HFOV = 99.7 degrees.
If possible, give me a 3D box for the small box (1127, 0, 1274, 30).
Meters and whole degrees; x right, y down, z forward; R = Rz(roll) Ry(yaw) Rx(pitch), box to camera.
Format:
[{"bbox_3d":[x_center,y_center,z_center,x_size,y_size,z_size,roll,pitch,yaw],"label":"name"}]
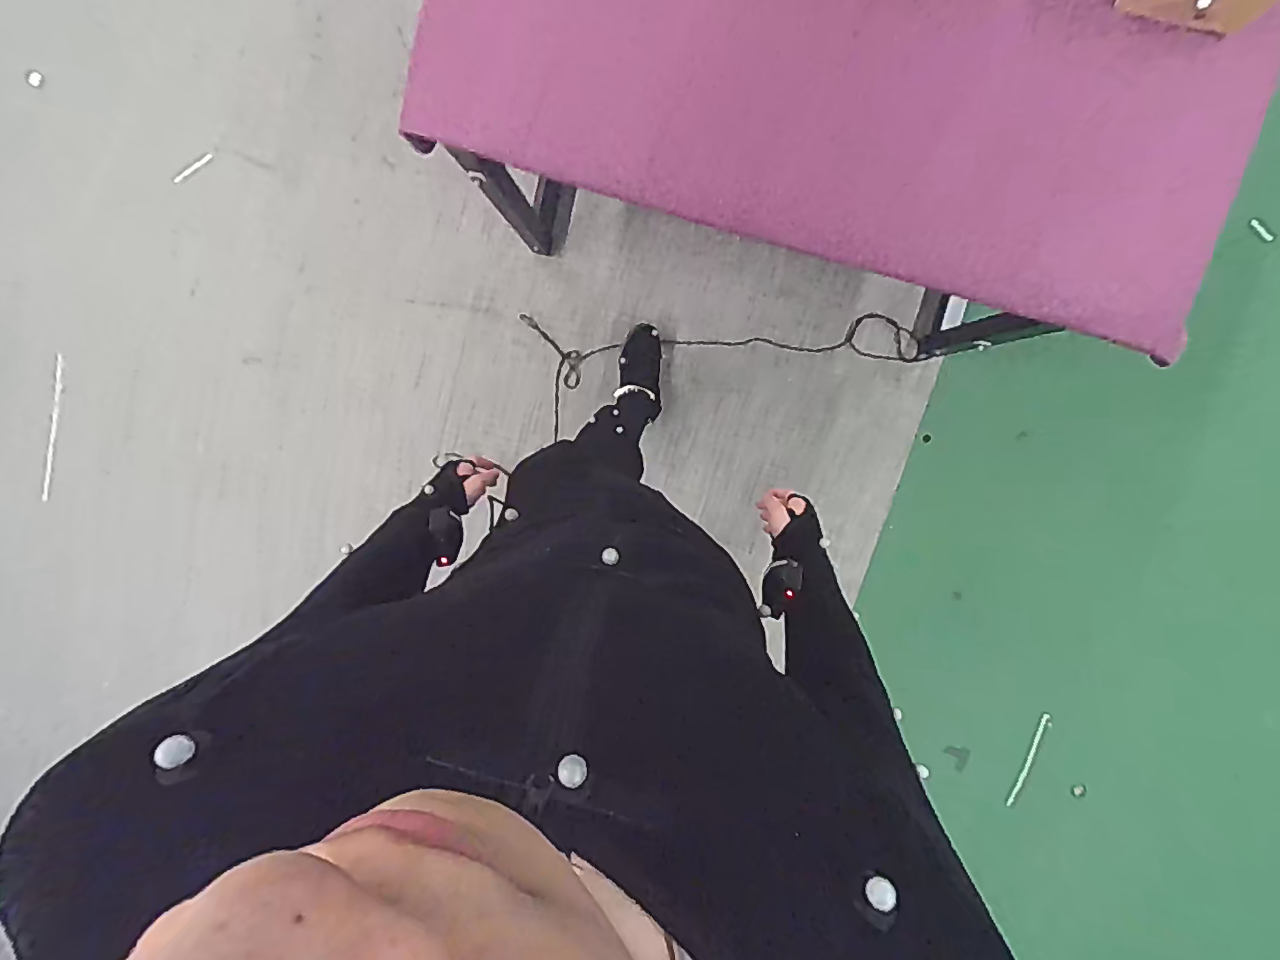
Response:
[{"bbox_3d":[0.753,-0.710,0.655,0.168,0.176,0.179,16,98,3],"label":"small box"}]
